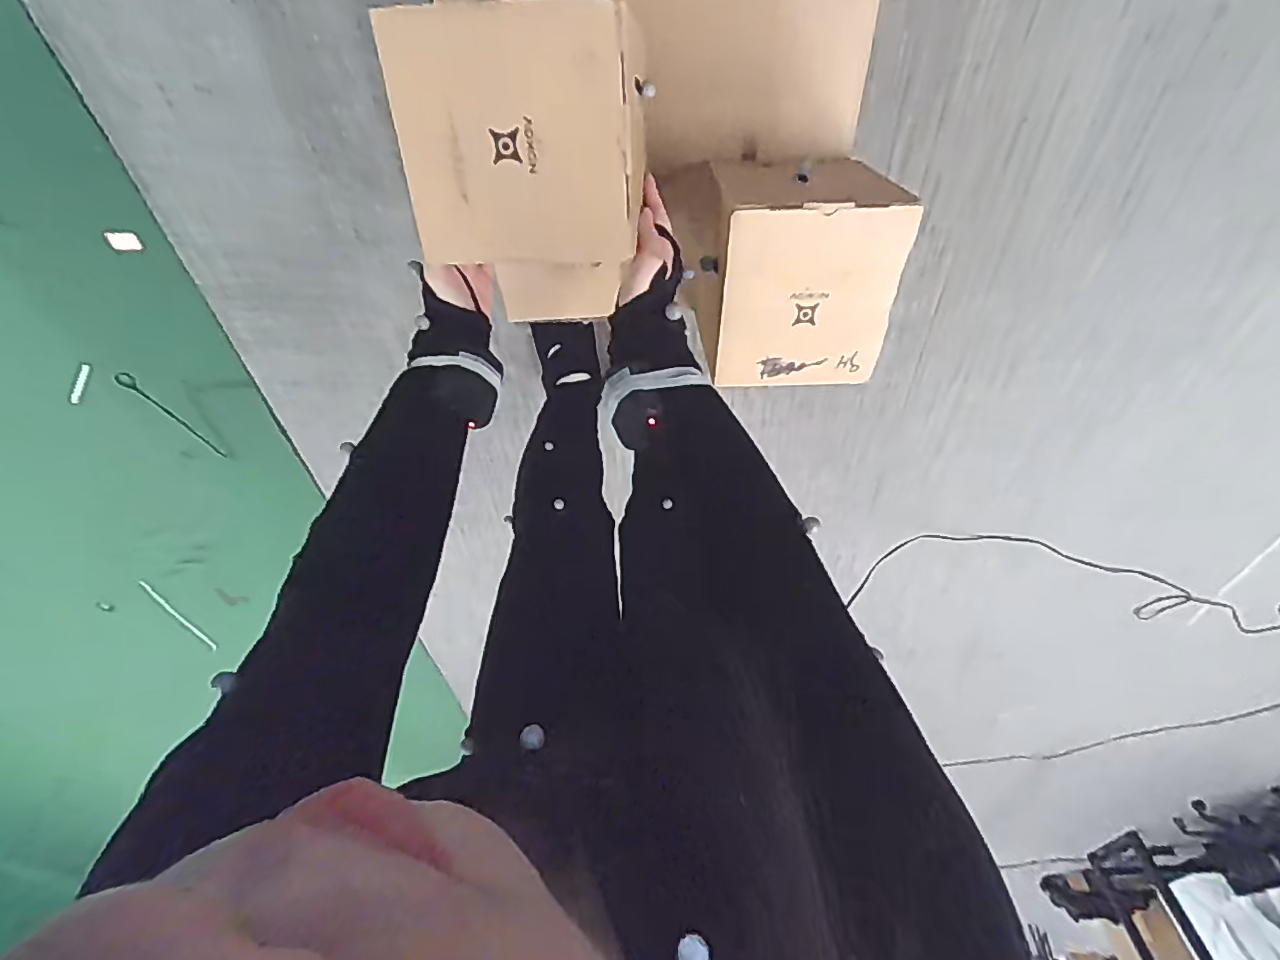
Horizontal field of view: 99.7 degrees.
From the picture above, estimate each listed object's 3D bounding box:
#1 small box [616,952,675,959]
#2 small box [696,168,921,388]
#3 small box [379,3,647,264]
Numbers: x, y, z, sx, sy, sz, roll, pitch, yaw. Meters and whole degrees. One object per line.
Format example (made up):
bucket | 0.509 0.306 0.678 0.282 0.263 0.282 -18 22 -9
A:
small box | 0.022 1.507 1.586 0.179 0.176 0.168 -4 133 2
small box | 0.153 -0.215 0.566 0.168 0.176 0.179 -1 131 -2
small box | -0.086 -0.291 0.472 0.179 0.176 0.168 3 121 6
